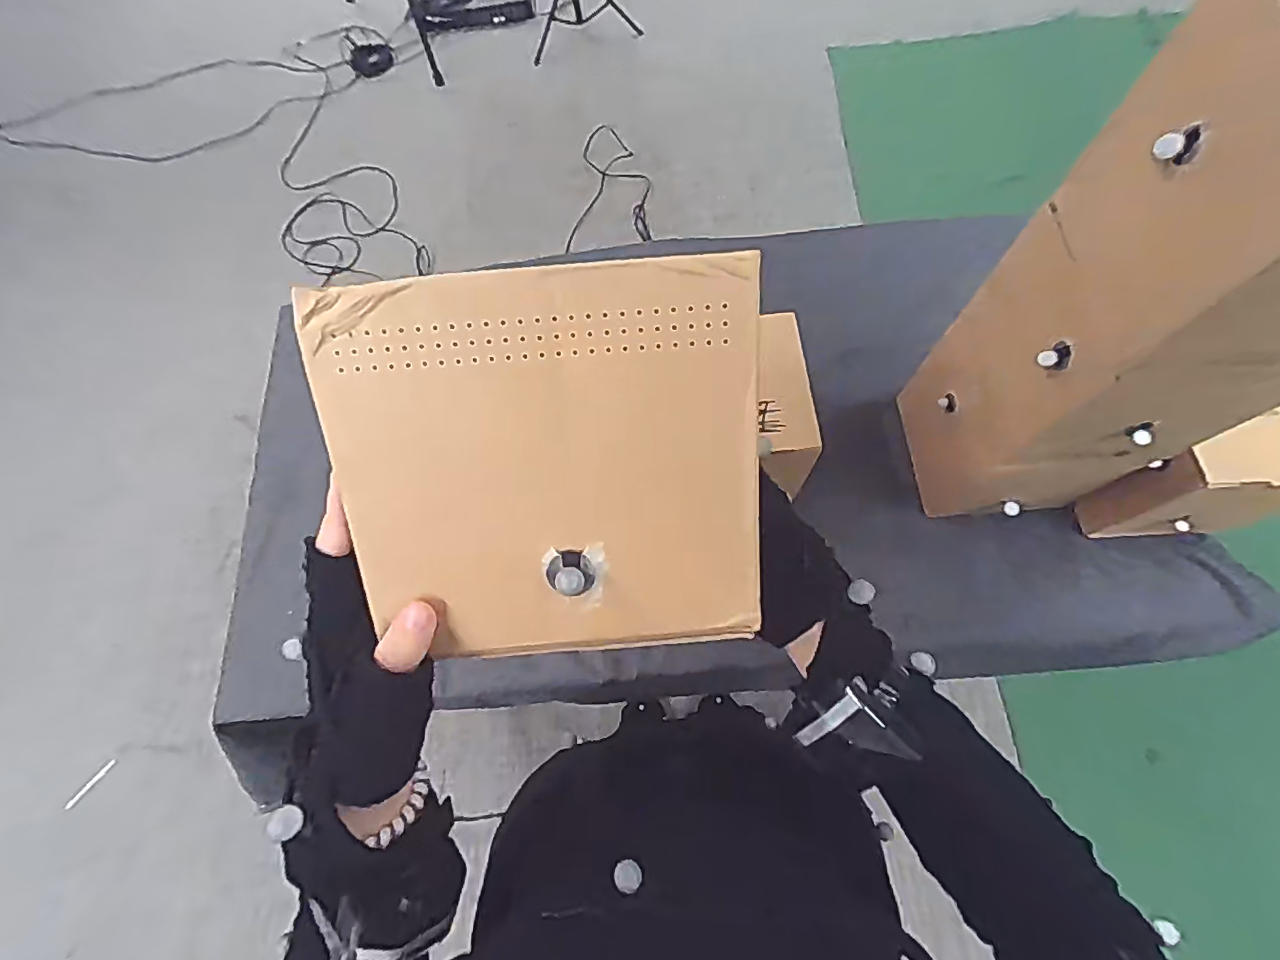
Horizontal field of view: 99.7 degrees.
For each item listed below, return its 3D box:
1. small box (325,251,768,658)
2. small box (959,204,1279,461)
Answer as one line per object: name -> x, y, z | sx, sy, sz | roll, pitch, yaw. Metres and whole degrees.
small box -> -0.034, -0.028, 0.301 | 0.179, 0.168, 0.176 | -4, 108, 0
small box -> 0.423, -0.123, 0.487 | 0.168, 0.176, 0.179 | -3, 68, 4
